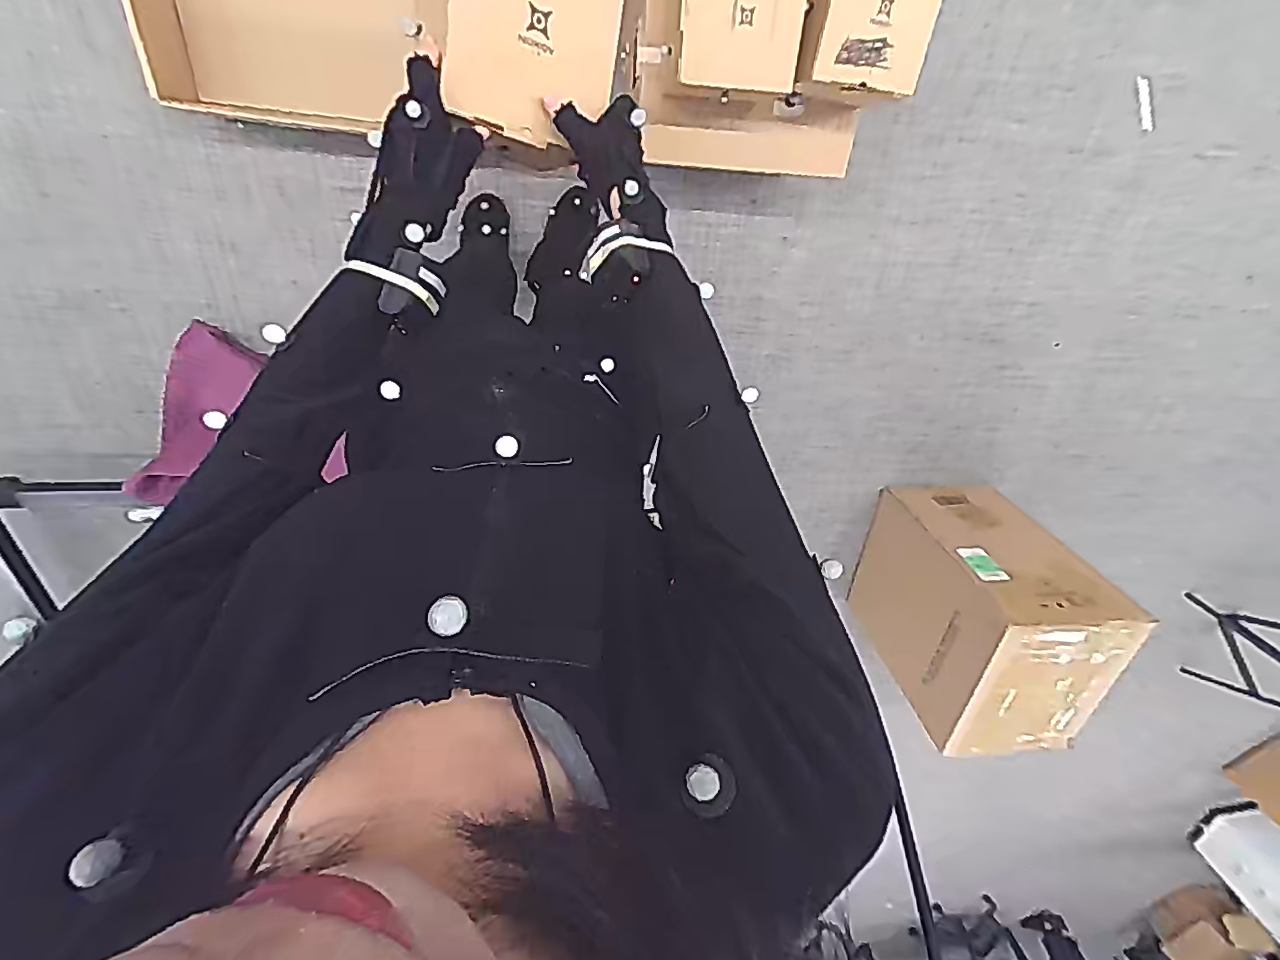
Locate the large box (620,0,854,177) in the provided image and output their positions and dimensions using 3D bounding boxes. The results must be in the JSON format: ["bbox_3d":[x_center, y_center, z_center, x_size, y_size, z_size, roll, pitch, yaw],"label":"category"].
[{"bbox_3d":[0.175,-0.783,1.057,0.408,0.320,0.320,-1,122,-9],"label":"large box"}]

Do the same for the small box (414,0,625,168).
[{"bbox_3d":[-0.136,-0.447,0.568,0.168,0.176,0.179,-1,113,-32],"label":"small box"}]

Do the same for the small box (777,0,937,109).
[{"bbox_3d":[0.329,-0.699,0.843,0.168,0.176,0.179,4,119,-10],"label":"small box"}]
